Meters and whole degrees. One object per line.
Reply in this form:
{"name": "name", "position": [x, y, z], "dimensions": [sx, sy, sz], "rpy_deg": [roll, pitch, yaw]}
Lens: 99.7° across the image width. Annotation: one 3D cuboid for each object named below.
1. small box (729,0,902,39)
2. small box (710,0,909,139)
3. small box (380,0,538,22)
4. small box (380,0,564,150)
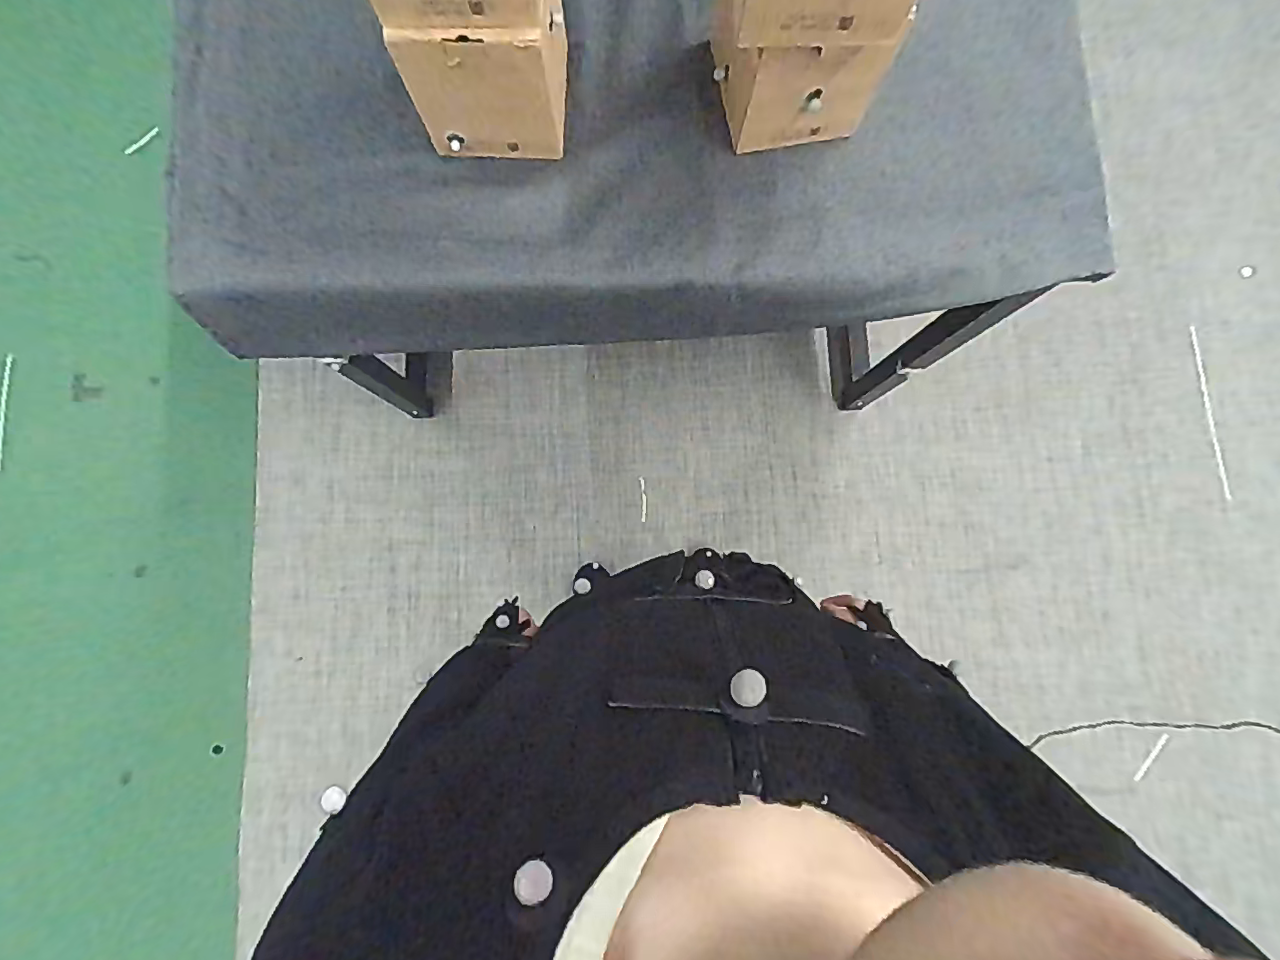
{"name": "small box", "position": [0.174, -0.545, 0.488], "dimensions": [0.168, 0.176, 0.179], "rpy_deg": [-1, 81, -2]}
{"name": "small box", "position": [0.188, -0.548, 0.653], "dimensions": [0.168, 0.176, 0.179], "rpy_deg": [-10, 83, -2]}
{"name": "small box", "position": [-0.185, -0.567, 0.484], "dimensions": [0.168, 0.176, 0.179], "rpy_deg": [-1, 82, 0]}
{"name": "small box", "position": [-0.184, -0.529, 0.645], "dimensions": [0.168, 0.176, 0.179], "rpy_deg": [1, 81, -1]}
